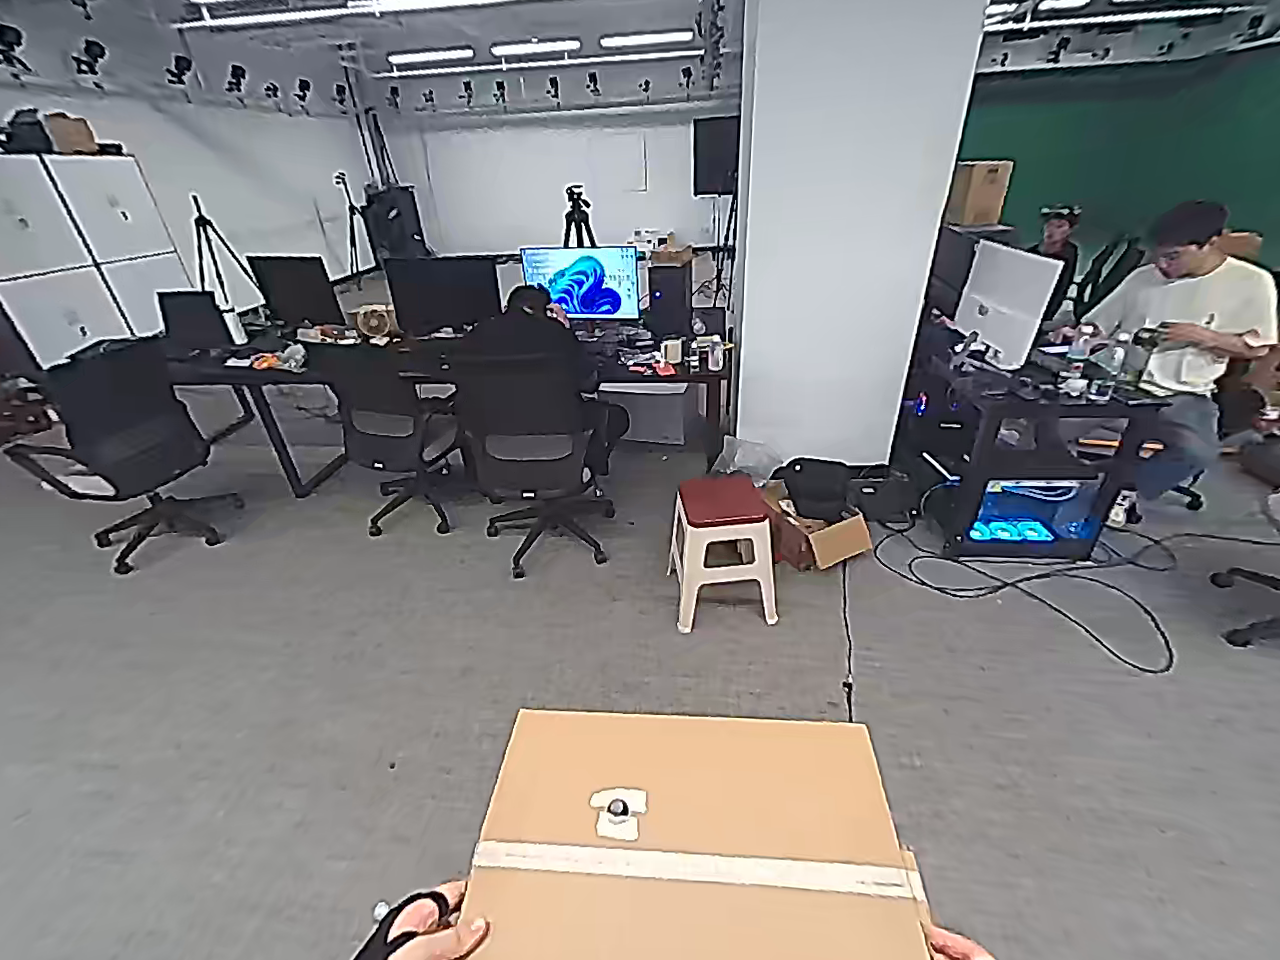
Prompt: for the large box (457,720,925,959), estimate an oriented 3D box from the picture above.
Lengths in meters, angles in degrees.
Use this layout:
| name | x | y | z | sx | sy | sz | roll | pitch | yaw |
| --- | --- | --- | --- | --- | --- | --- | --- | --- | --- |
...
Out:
| name | x | y | z | sx | sy | sz | roll | pitch | yaw |
| --- | --- | --- | --- | --- | --- | --- | --- | --- | --- |
| large box | 0.059 | 0.493 | 0.594 | 0.408 | 0.320 | 0.320 | -2 | 32 | 8 |
